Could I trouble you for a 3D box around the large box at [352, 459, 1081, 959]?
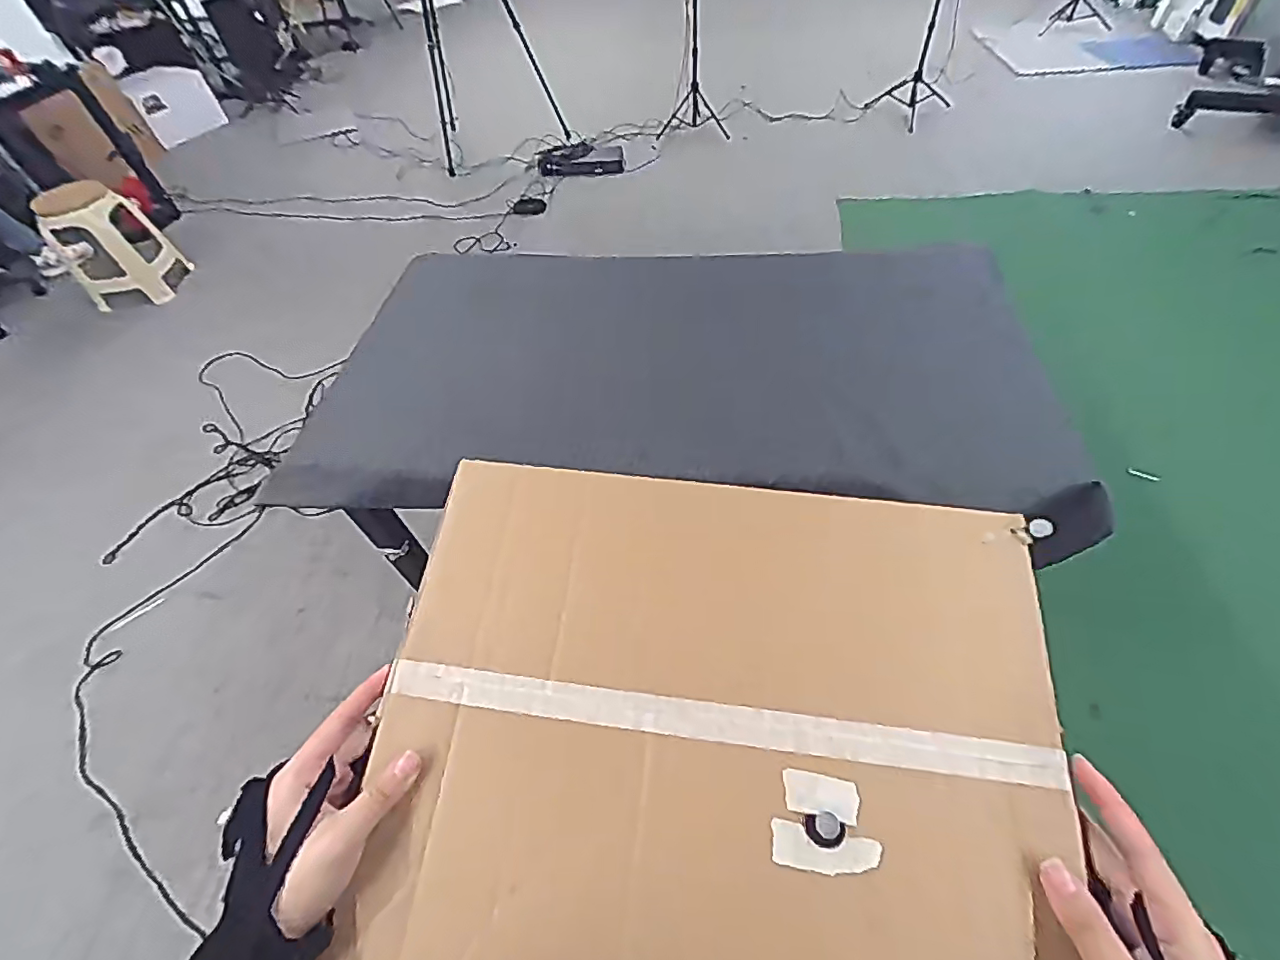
[{"bbox_3d":[0.054,0.200,0.482,0.408,0.320,0.320,6,67,5],"label":"large box"}]
